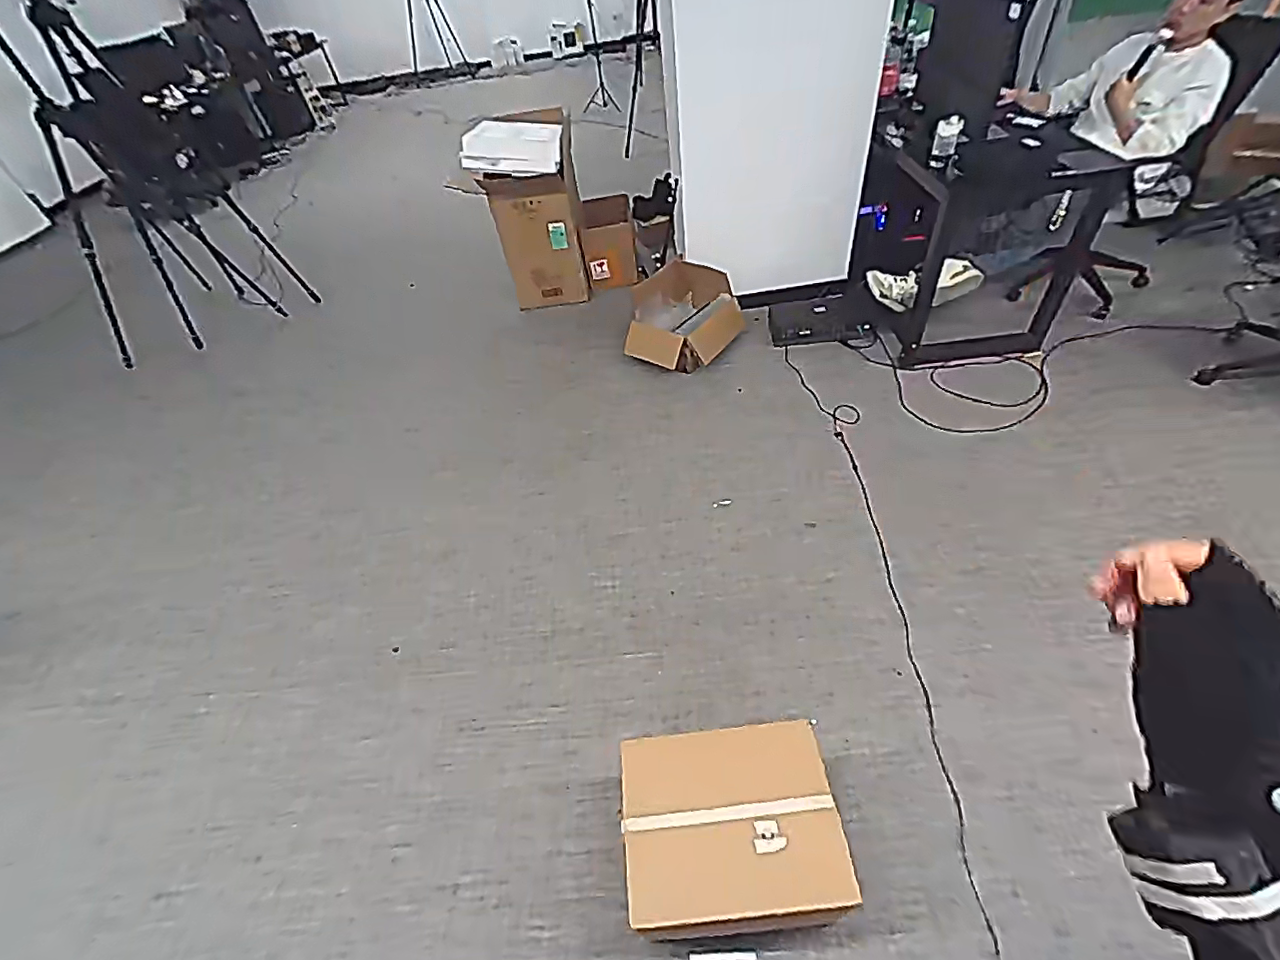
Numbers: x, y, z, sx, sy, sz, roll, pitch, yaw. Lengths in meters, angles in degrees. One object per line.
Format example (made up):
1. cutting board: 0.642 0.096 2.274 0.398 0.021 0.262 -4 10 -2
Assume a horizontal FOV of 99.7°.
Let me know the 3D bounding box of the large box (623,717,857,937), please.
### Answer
1. large box: 0.188 0.744 1.157 0.408 0.320 0.320 -8 47 1
